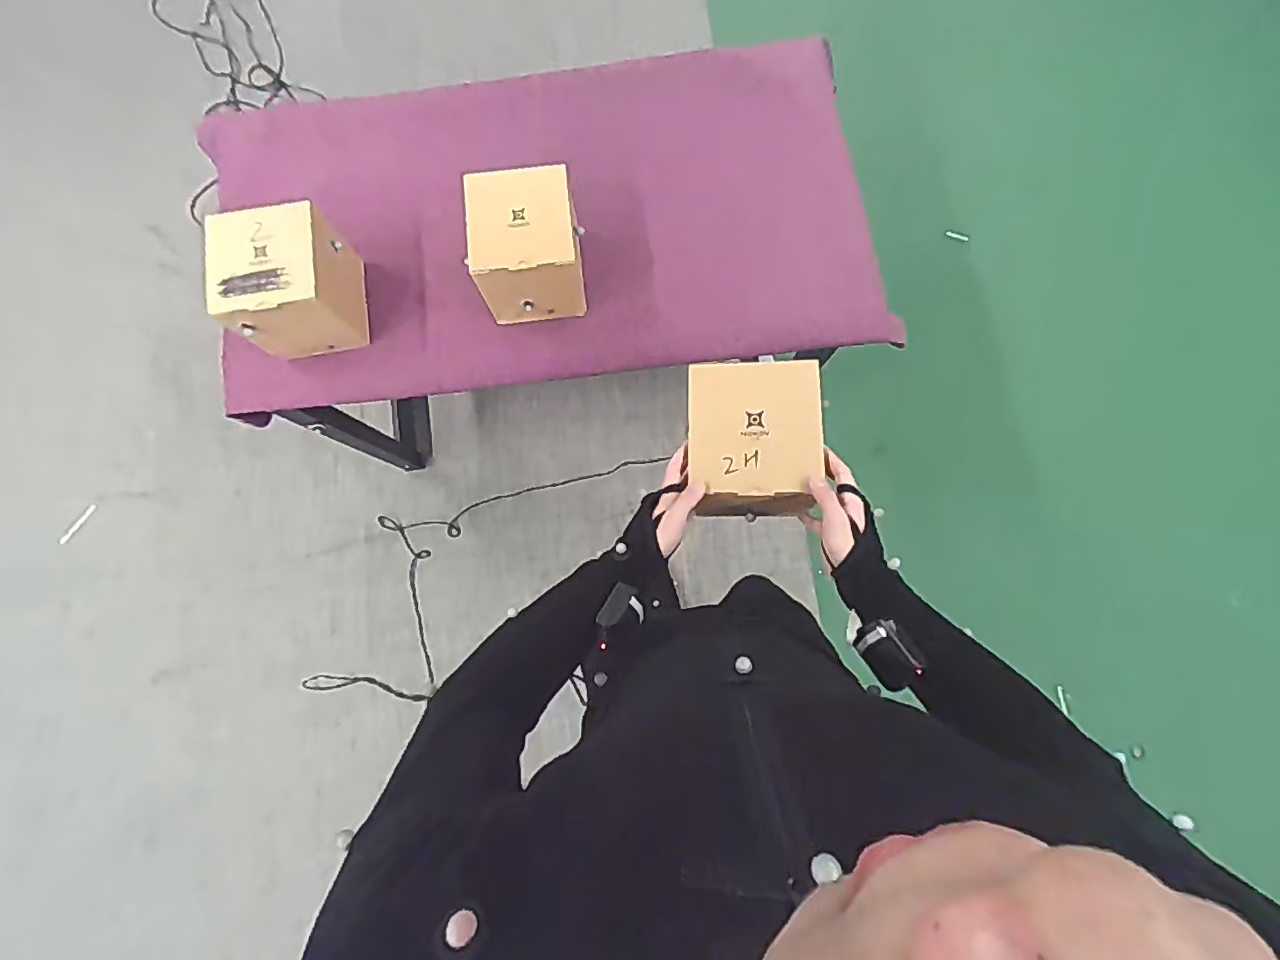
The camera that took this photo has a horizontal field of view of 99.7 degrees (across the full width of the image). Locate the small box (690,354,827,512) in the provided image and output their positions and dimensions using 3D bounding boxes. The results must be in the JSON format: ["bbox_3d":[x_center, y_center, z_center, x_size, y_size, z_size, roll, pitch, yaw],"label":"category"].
[{"bbox_3d":[0.156,-0.057,0.749,0.168,0.176,0.179,0,77,9],"label":"small box"}]

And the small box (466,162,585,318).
[{"bbox_3d":[-0.187,-0.399,0.919,0.168,0.176,0.179,-7,81,-2],"label":"small box"}]
